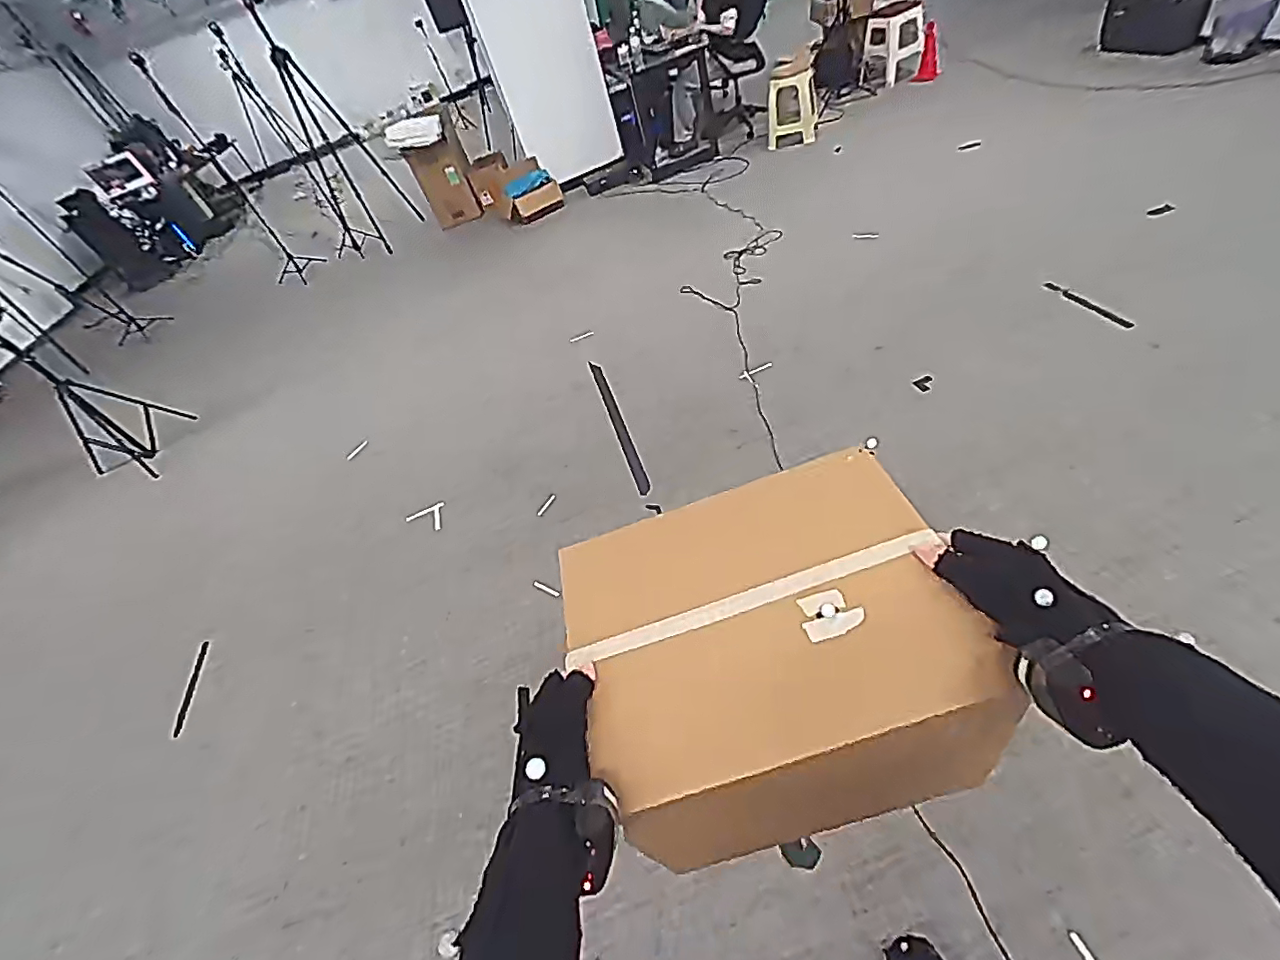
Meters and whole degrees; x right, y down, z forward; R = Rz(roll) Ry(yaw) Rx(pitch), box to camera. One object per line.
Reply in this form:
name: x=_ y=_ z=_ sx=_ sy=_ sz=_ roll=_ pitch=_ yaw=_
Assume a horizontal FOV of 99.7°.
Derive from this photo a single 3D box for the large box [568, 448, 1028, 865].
large box: x=0.162 y=0.226 z=0.685 sx=0.408 sy=0.320 sz=0.320 roll=-20 pitch=45 yaw=3
